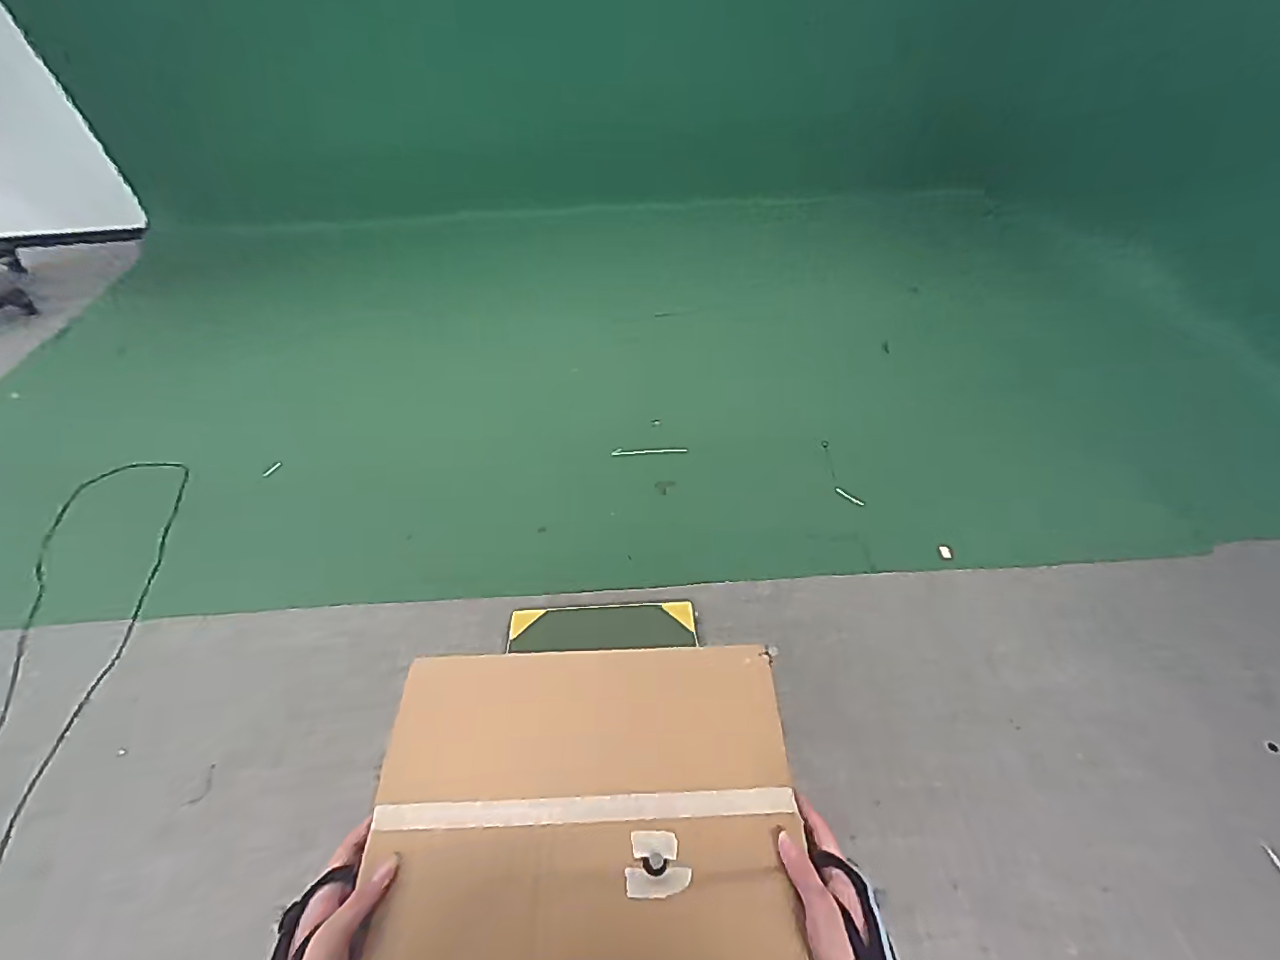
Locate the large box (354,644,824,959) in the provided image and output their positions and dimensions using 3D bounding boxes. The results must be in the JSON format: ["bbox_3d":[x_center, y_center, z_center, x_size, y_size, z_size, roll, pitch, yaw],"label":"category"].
[{"bbox_3d":[-0.049,0.413,0.643,0.408,0.320,0.320,-2,50,-1],"label":"large box"}]
